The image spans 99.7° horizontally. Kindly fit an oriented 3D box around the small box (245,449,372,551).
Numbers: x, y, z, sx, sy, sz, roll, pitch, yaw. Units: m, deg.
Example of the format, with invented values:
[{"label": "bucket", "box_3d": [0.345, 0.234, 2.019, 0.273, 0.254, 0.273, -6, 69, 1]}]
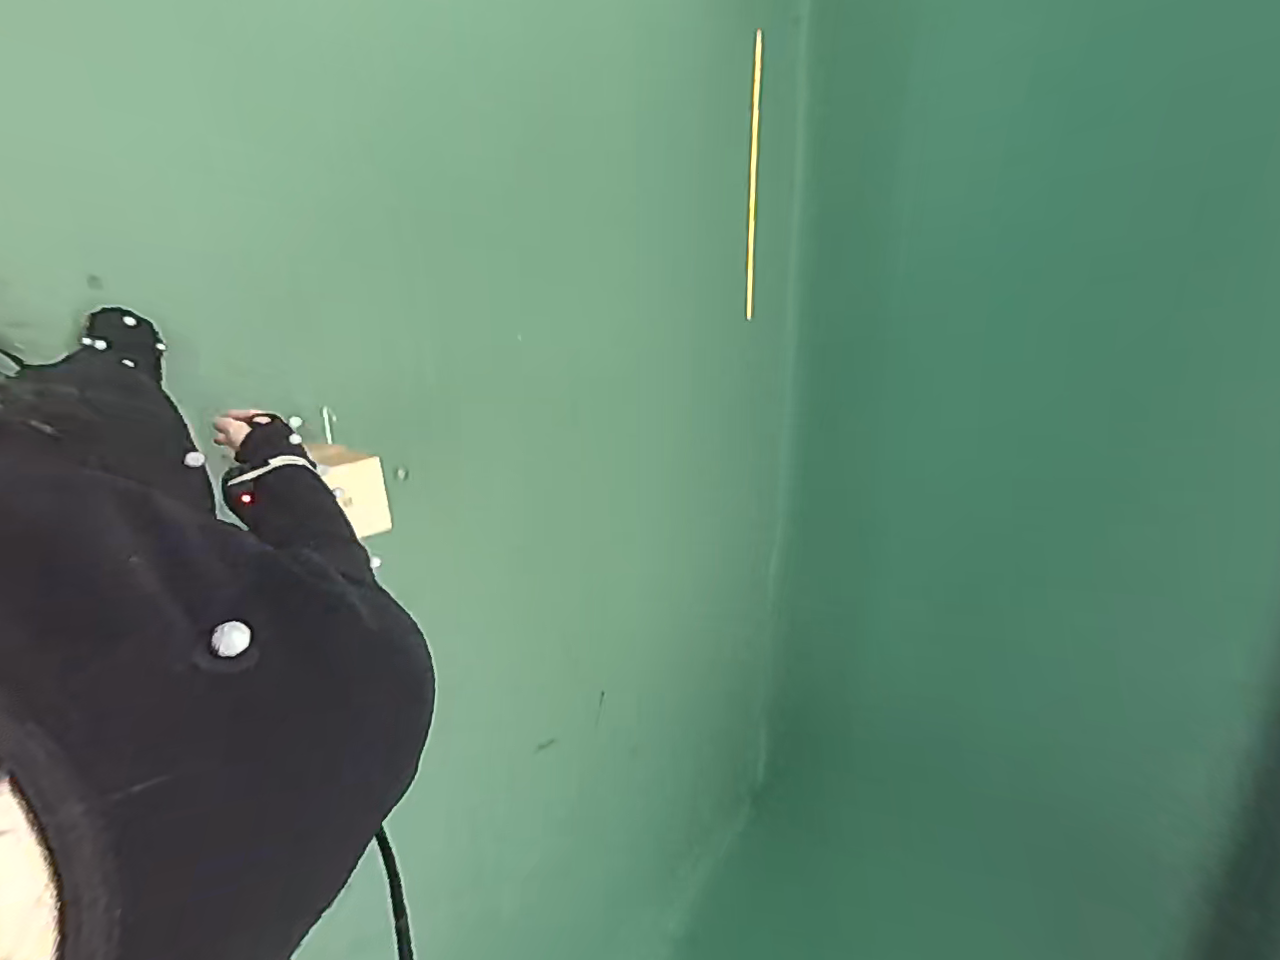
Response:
[{"label": "small box", "box_3d": [-0.716, 0.033, 1.174, 0.179, 0.176, 0.168, -19, 114, -46]}]
